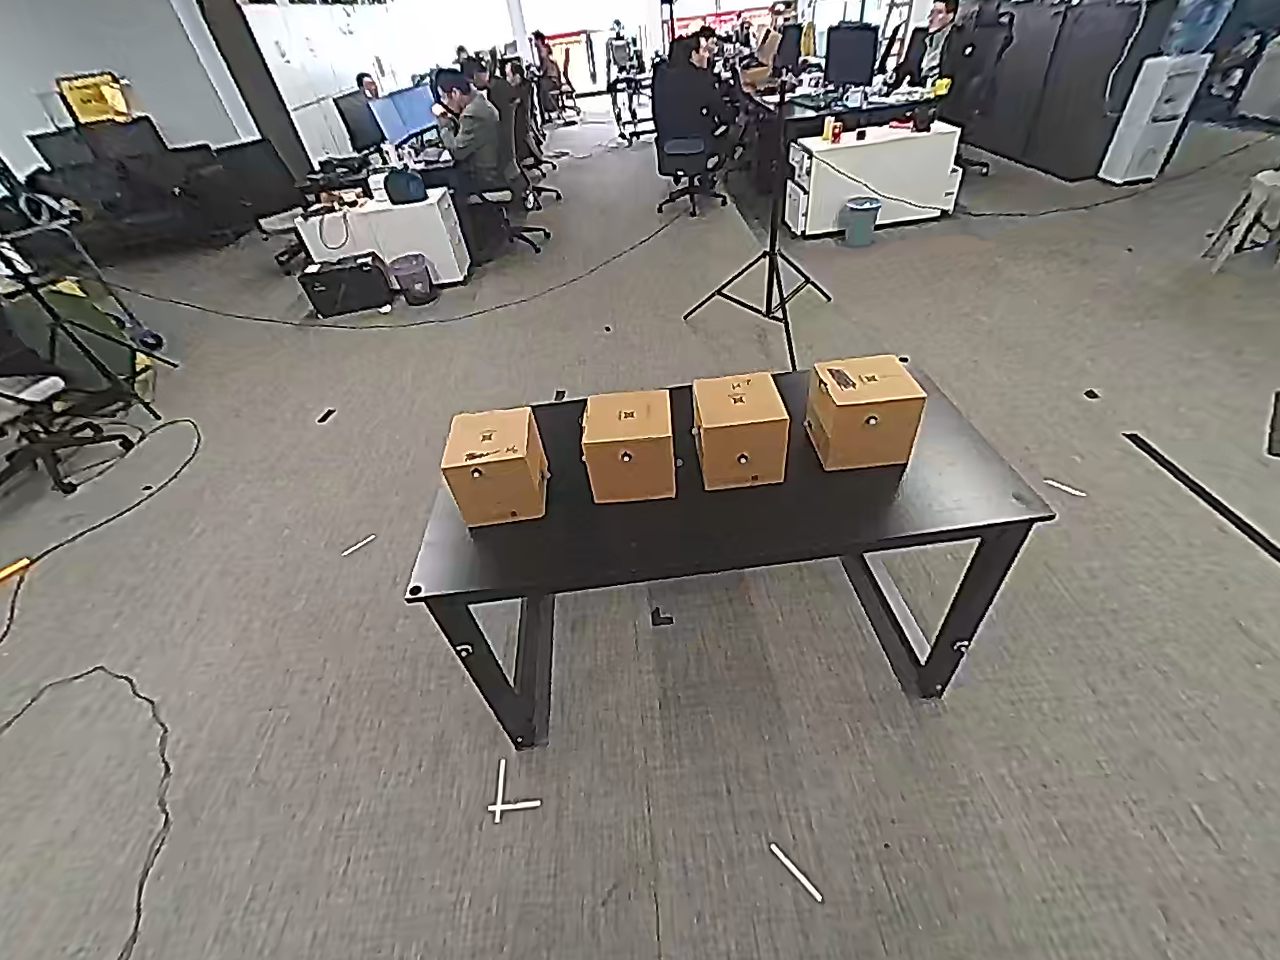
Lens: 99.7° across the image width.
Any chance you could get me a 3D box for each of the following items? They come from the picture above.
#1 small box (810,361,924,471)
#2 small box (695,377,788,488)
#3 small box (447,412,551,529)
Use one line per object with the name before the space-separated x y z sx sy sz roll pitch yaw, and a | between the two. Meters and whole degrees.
small box | 0.469 -0.133 1.151 0.179 0.176 0.168 -6 41 2
small box | 0.211 -0.095 1.152 0.168 0.176 0.179 -6 41 2
small box | -0.289 -0.021 1.152 0.168 0.176 0.179 -8 41 1
